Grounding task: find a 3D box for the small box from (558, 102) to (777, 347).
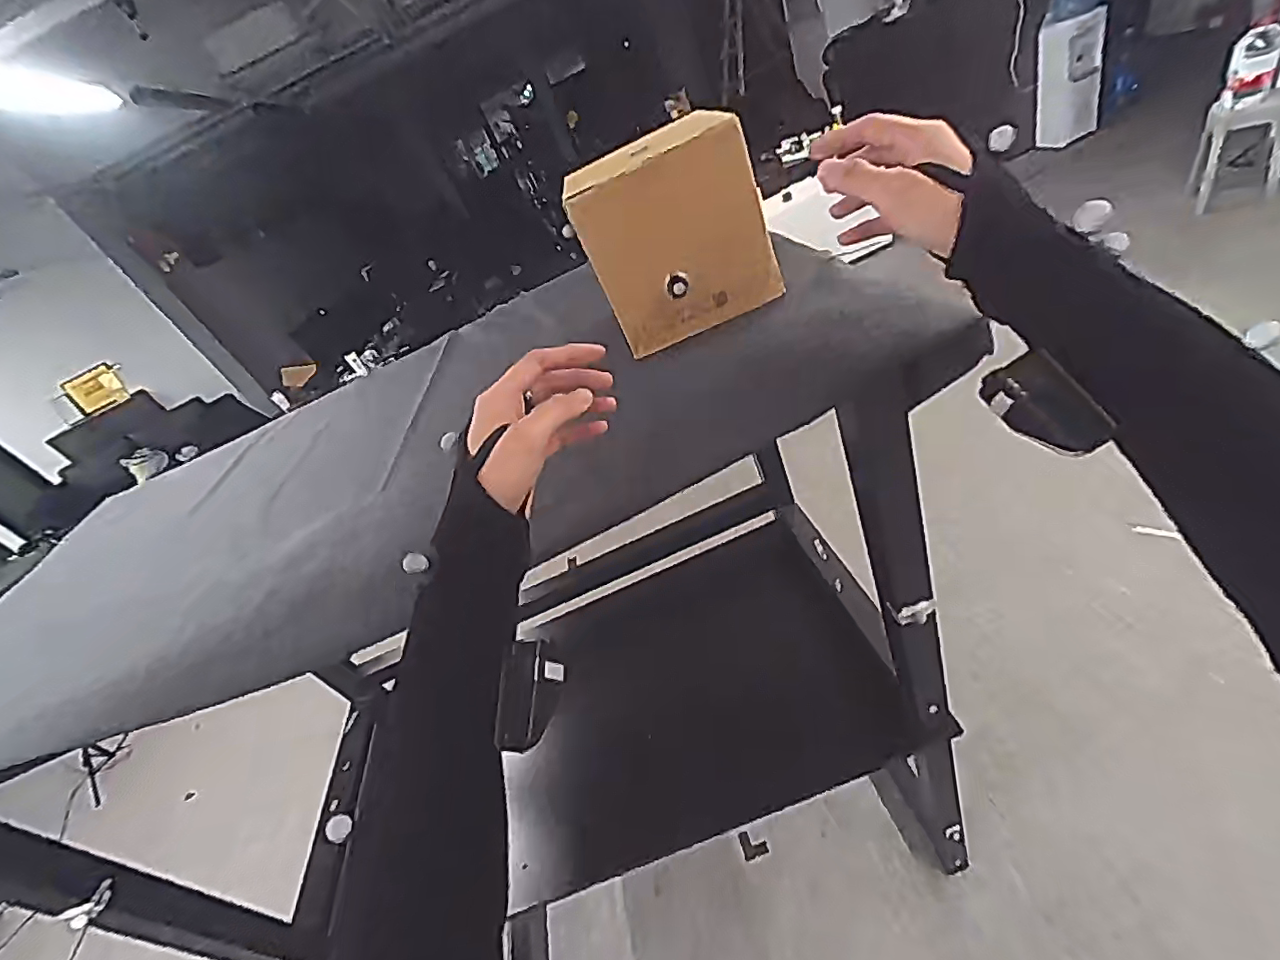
[{"bbox_3d":[0.027,-0.266,0.569,0.168,0.176,0.179,-22,35,8],"label":"small box"}]
